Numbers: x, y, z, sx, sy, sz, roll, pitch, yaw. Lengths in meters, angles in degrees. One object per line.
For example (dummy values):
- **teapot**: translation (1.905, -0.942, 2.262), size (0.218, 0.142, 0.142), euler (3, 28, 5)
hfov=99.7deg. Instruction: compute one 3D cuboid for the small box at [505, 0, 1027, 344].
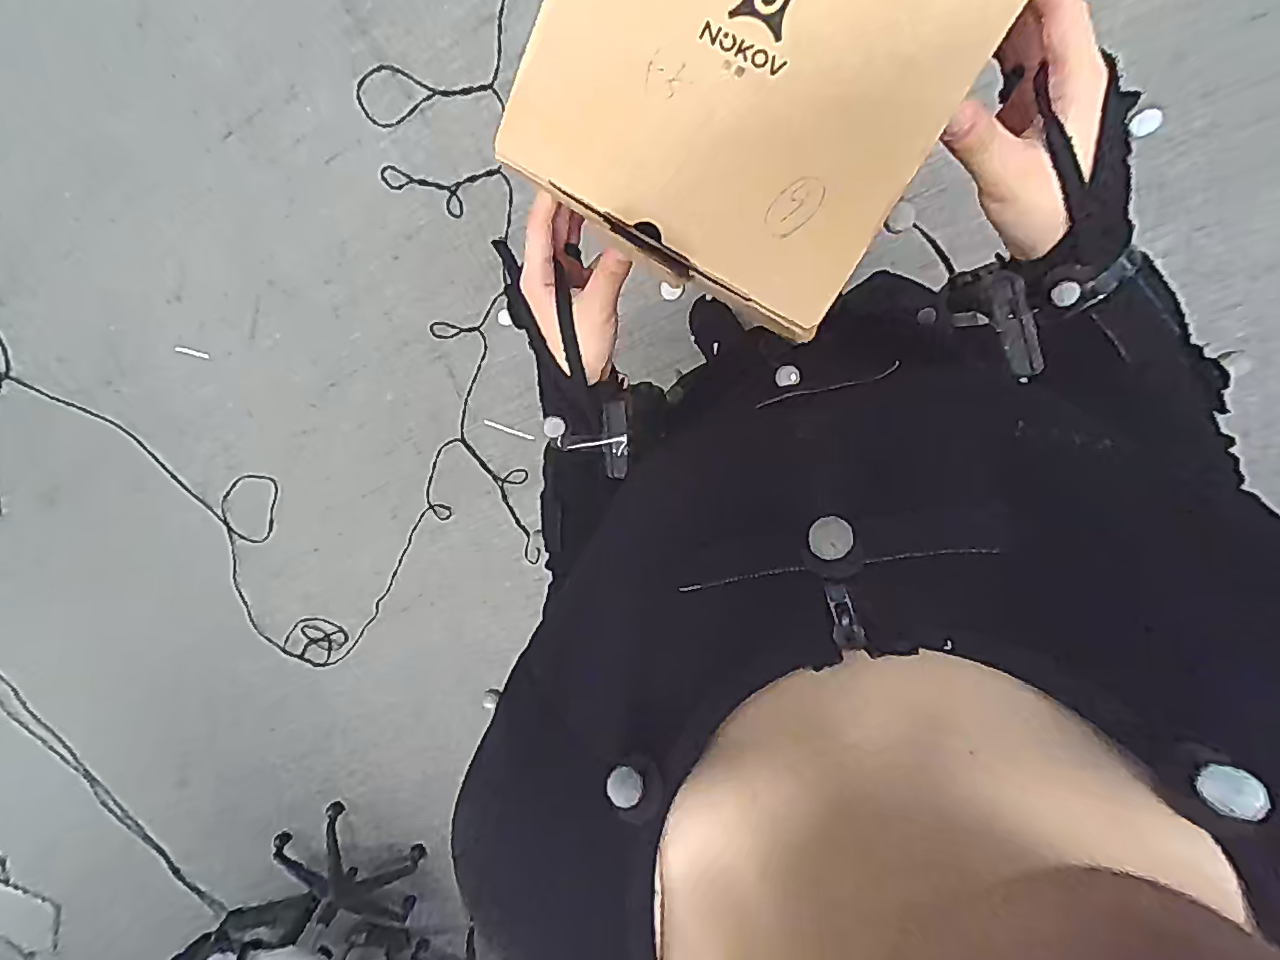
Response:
- **small box**: translation (0.065, -0.189, 0.290), size (0.168, 0.176, 0.179), euler (32, 110, 5)
